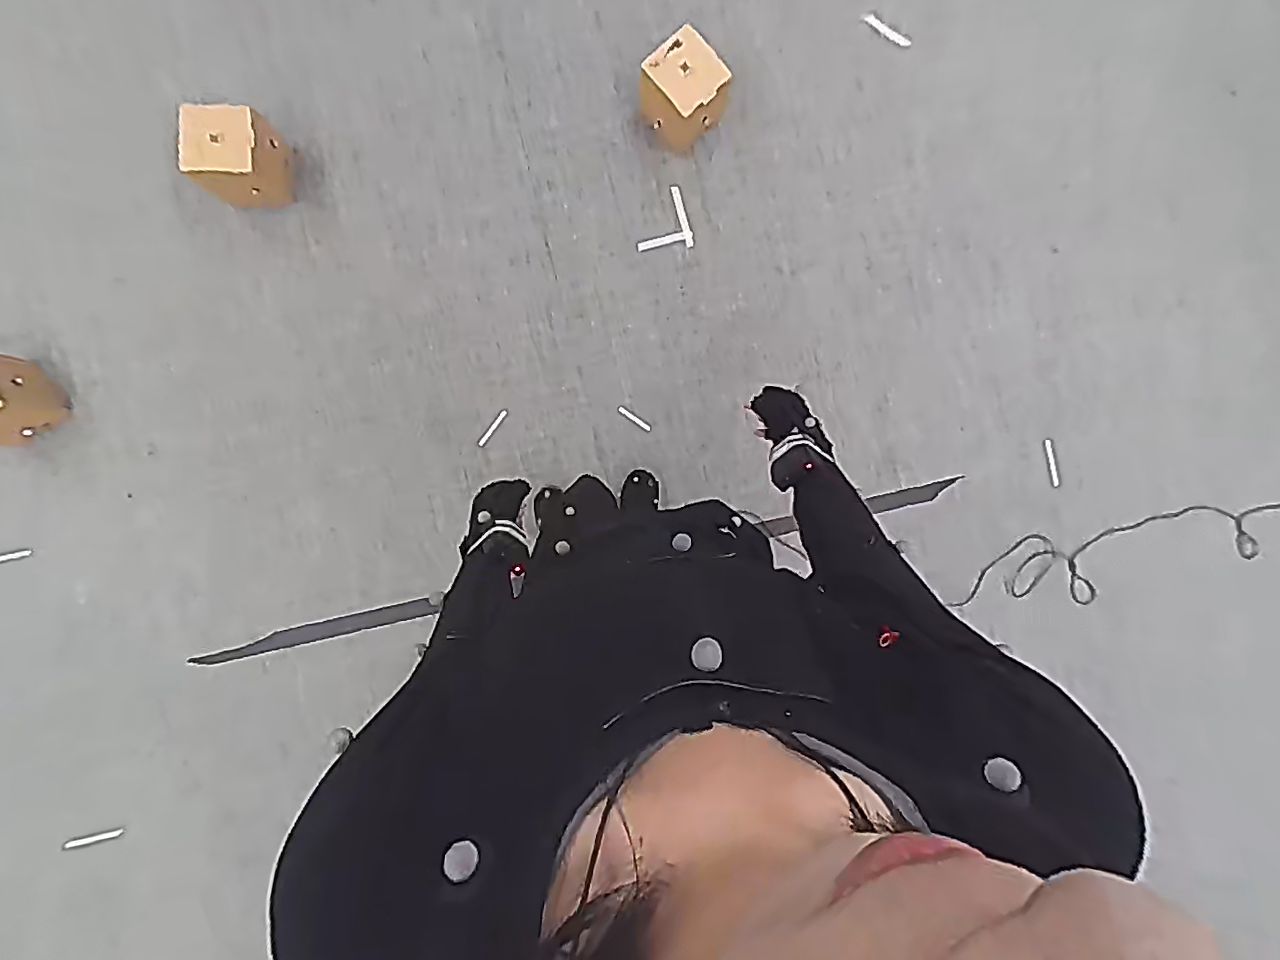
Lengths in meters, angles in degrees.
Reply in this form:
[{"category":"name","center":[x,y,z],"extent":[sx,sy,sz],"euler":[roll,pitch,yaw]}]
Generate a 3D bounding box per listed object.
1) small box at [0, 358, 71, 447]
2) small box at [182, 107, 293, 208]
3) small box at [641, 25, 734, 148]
[{"category":"small box","center":[-1.636,-0.198,1.370],"extent":[0.168,0.176,0.179],"euler":[-36,93,-1]},{"category":"small box","center":[-1.026,-0.822,1.393],"extent":[0.179,0.176,0.168],"euler":[-1,89,-1]},{"category":"small box","center":[0.118,-1.023,1.431],"extent":[0.168,0.176,0.179],"euler":[-42,93,-1]}]
